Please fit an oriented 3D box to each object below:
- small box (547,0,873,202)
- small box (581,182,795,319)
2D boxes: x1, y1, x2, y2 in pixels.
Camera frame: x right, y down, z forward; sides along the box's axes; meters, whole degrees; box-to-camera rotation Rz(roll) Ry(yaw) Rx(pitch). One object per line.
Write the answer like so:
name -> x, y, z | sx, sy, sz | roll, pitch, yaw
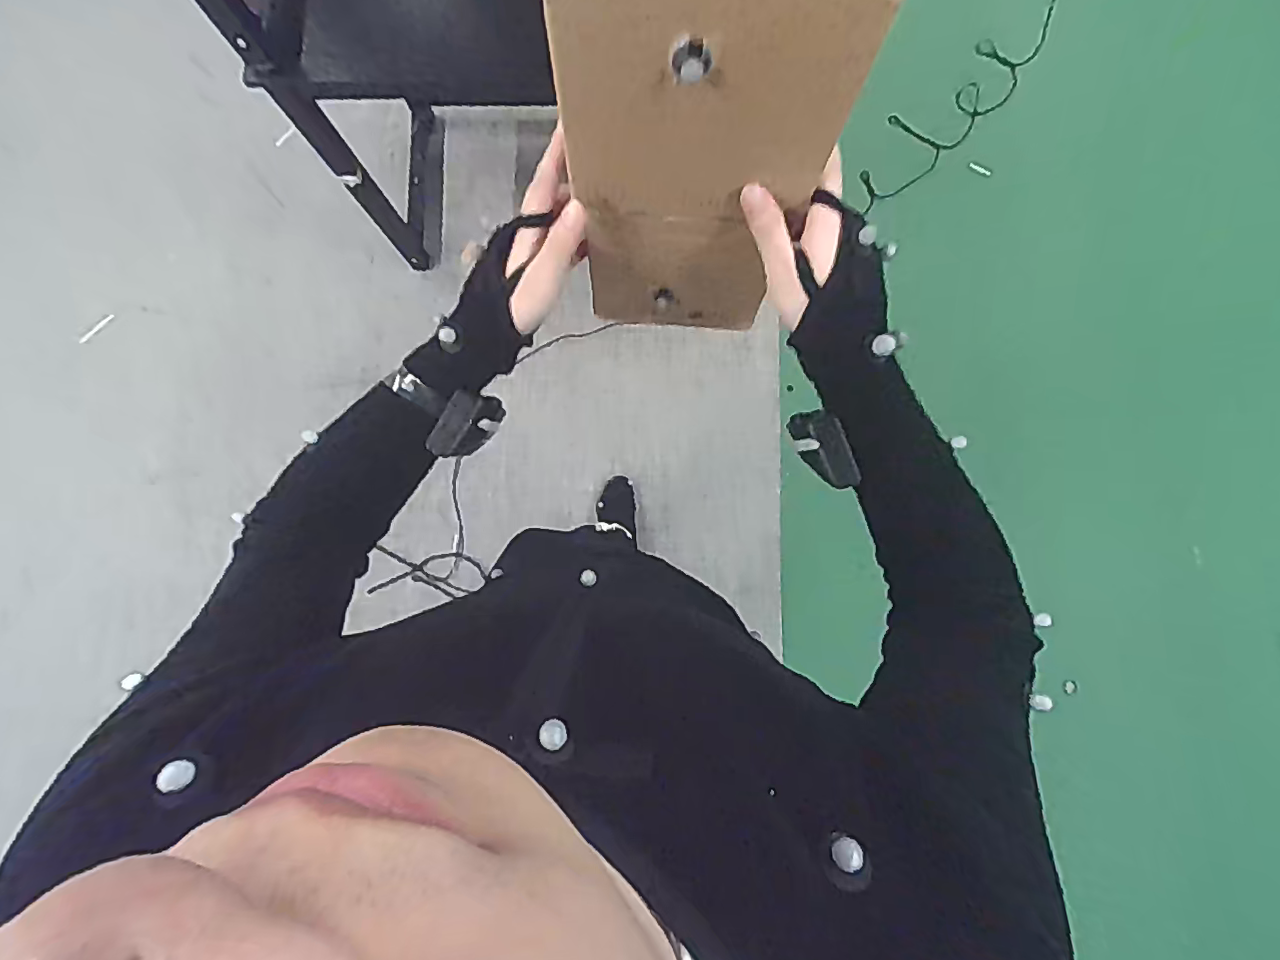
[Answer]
small box -> 0.039, -0.303, 0.338 | 0.179, 0.176, 0.168 | 4, 79, -1
small box -> 0.039, -0.275, 0.501 | 0.168, 0.176, 0.179 | 4, 79, -1
